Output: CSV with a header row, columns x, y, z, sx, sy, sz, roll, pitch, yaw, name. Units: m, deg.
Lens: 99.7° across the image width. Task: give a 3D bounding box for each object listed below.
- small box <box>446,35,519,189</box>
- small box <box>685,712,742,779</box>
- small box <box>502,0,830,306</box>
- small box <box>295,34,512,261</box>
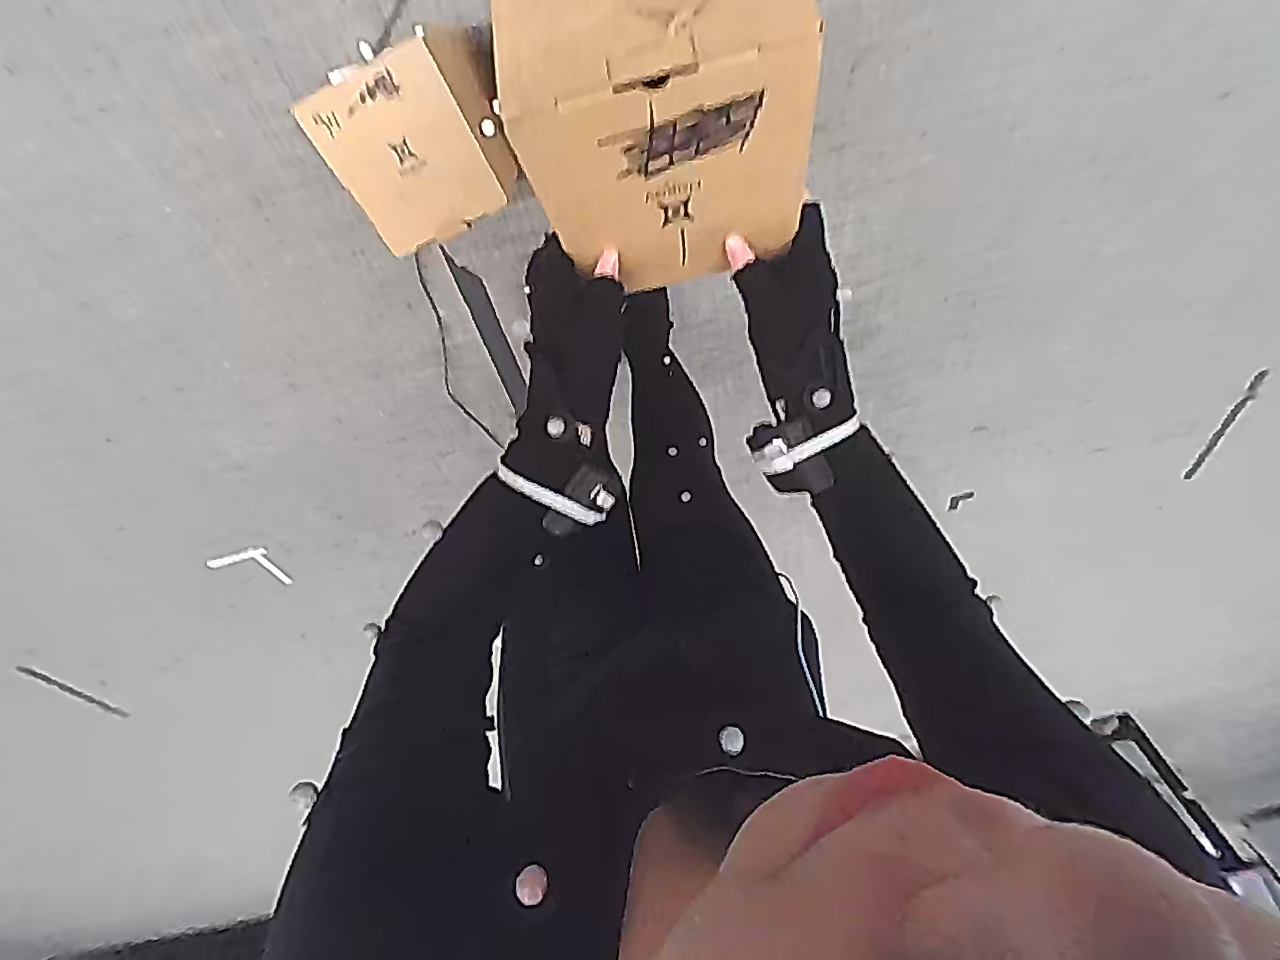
x,y,z,sx,sy,sz,roll,pitch,yaw,name
-0.290,-0.522,0.801,0.168,0.176,0.179,-17,132,7,small box
0.270,0.980,2.005,0.168,0.176,0.179,-14,134,5,small box
0.015,-0.250,0.363,0.168,0.176,0.179,-9,167,9,small box
-0.273,-0.415,0.676,0.168,0.176,0.179,-20,133,9,small box
